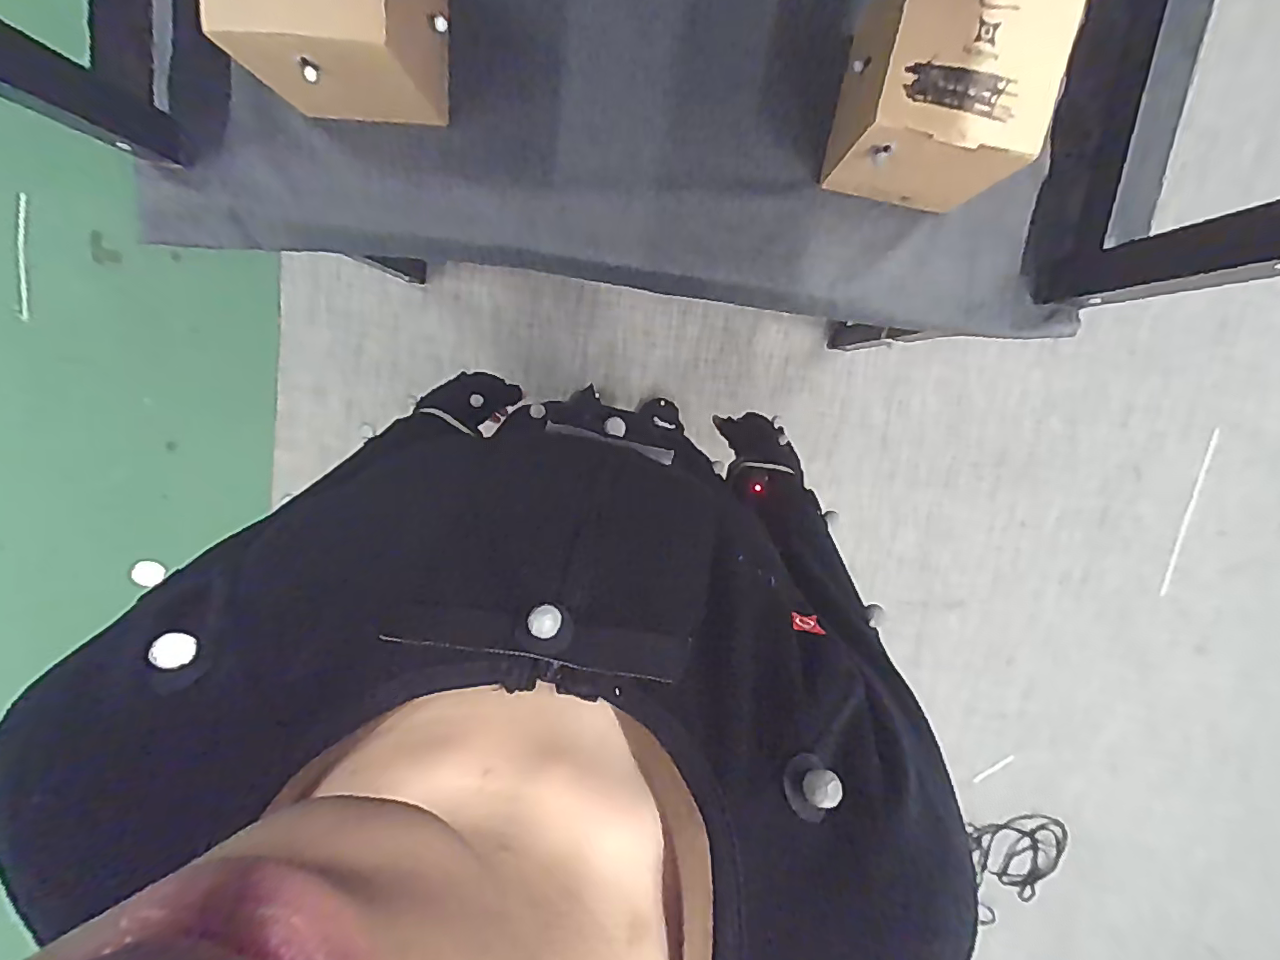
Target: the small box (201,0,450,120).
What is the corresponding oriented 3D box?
[{"bbox_3d":[-0.318,-0.511,0.572,0.179,0.176,0.168,4,101,-1],"label":"small box"}]
